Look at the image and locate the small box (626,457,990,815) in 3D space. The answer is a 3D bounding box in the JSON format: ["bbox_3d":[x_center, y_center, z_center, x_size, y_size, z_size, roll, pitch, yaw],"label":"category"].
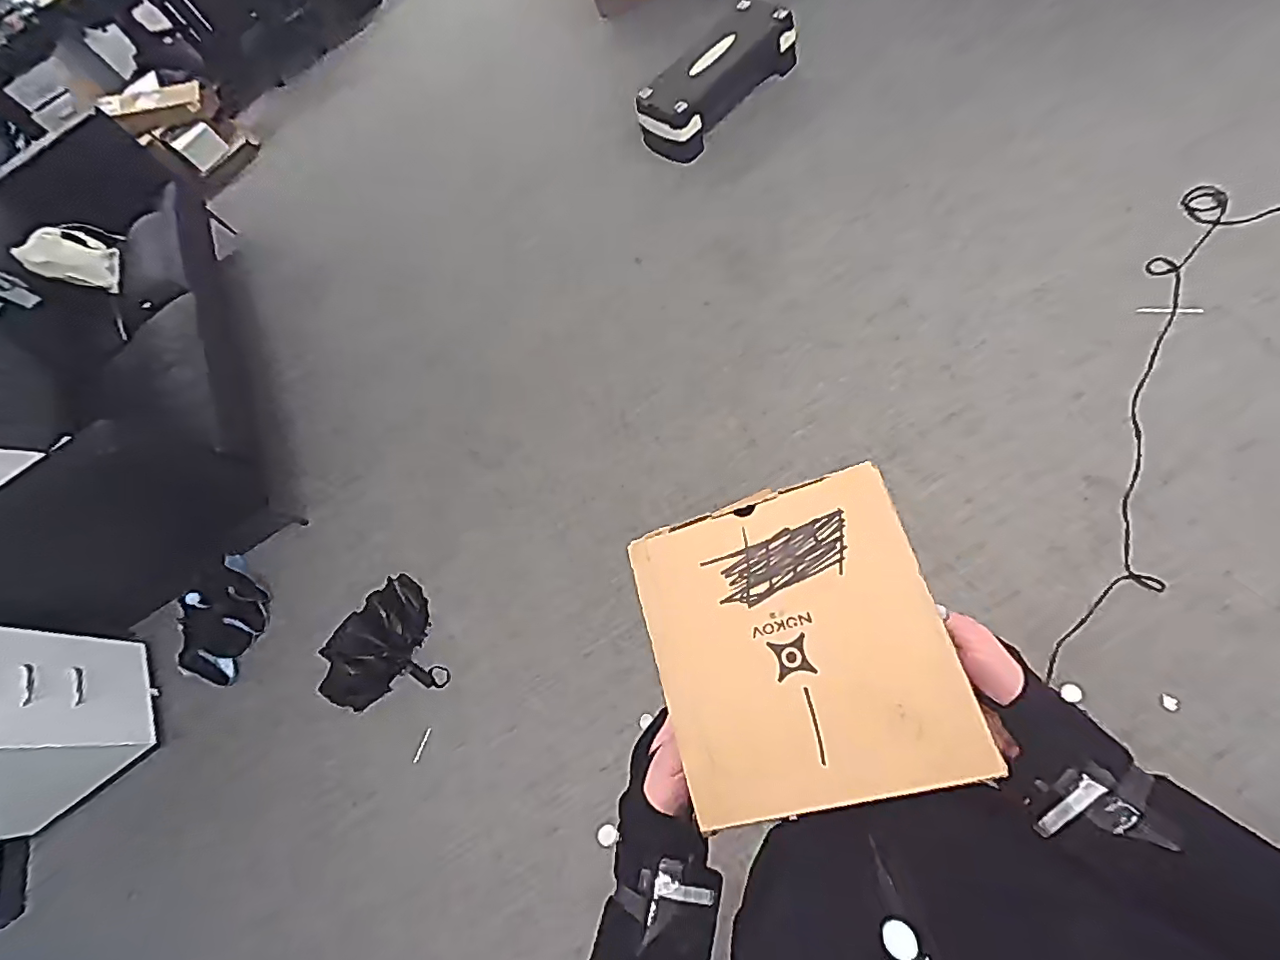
[{"bbox_3d":[0.110,0.107,0.391,0.168,0.176,0.179,-20,72,15],"label":"small box"}]
